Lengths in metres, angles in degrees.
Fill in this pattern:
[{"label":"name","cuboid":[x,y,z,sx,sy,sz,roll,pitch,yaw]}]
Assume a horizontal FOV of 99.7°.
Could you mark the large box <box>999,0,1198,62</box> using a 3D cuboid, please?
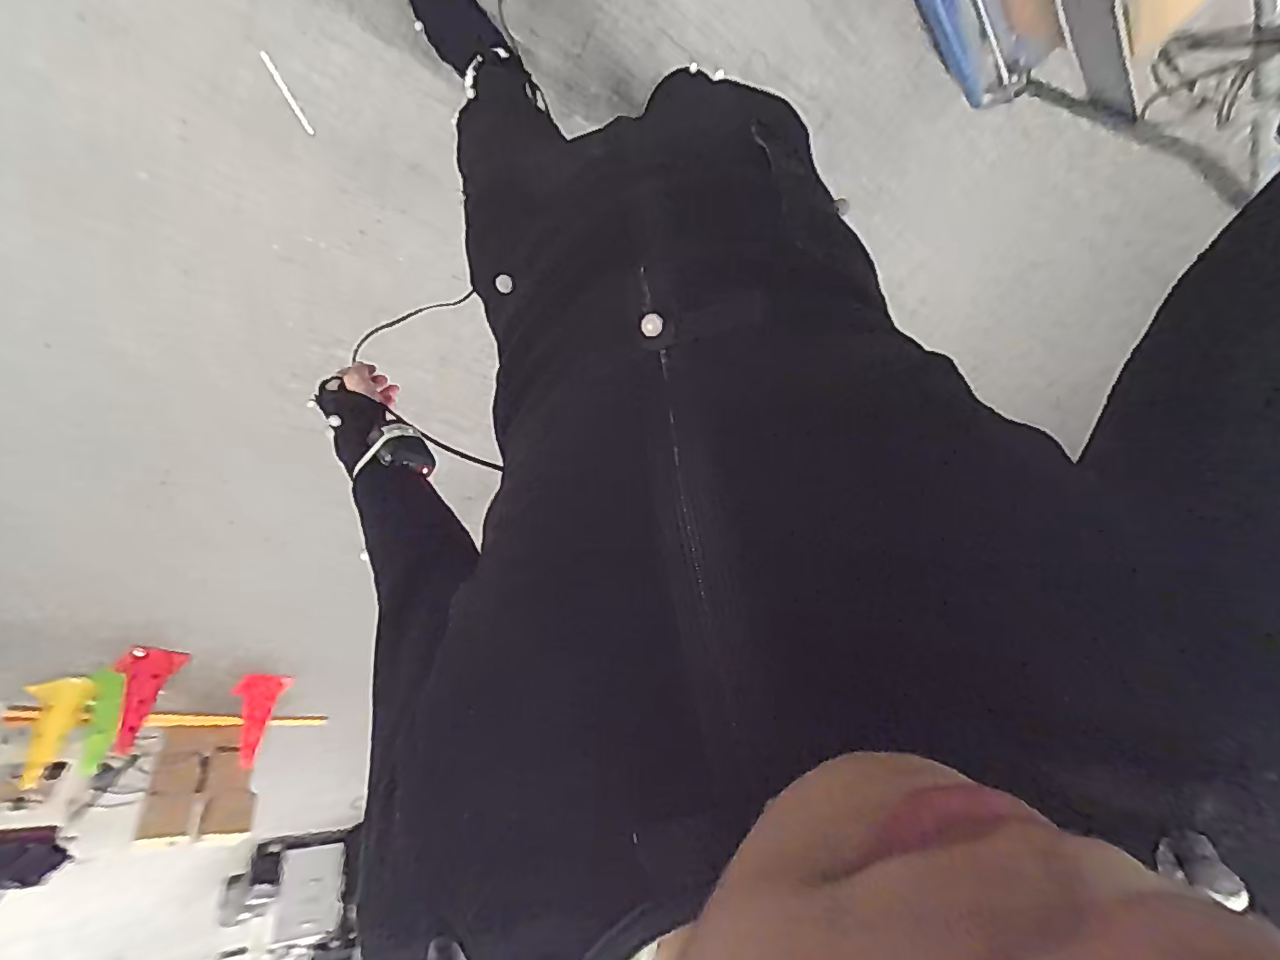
[{"label":"large box","cuboid":[0.872,-1.036,0.911,0.320,0.320,0.408,24,122,-39]}]
